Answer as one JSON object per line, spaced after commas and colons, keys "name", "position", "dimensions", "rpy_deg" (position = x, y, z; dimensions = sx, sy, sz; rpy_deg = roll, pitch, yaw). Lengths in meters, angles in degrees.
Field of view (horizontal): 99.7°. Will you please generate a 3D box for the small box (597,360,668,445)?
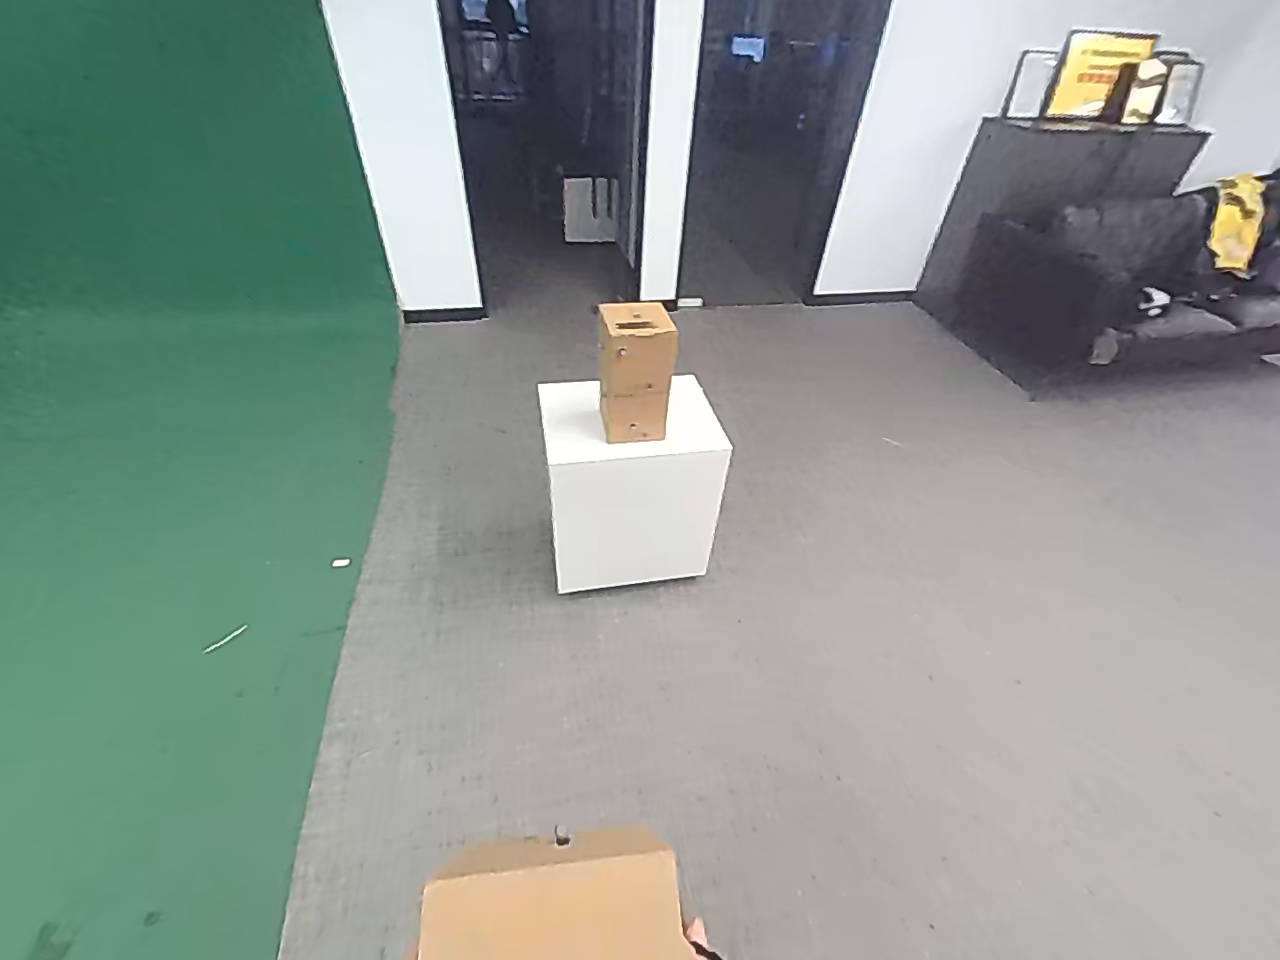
{"name": "small box", "position": [-0.027, -0.217, 1.501], "dimensions": [0.168, 0.176, 0.179], "rpy_deg": [-5, 41, -11]}
